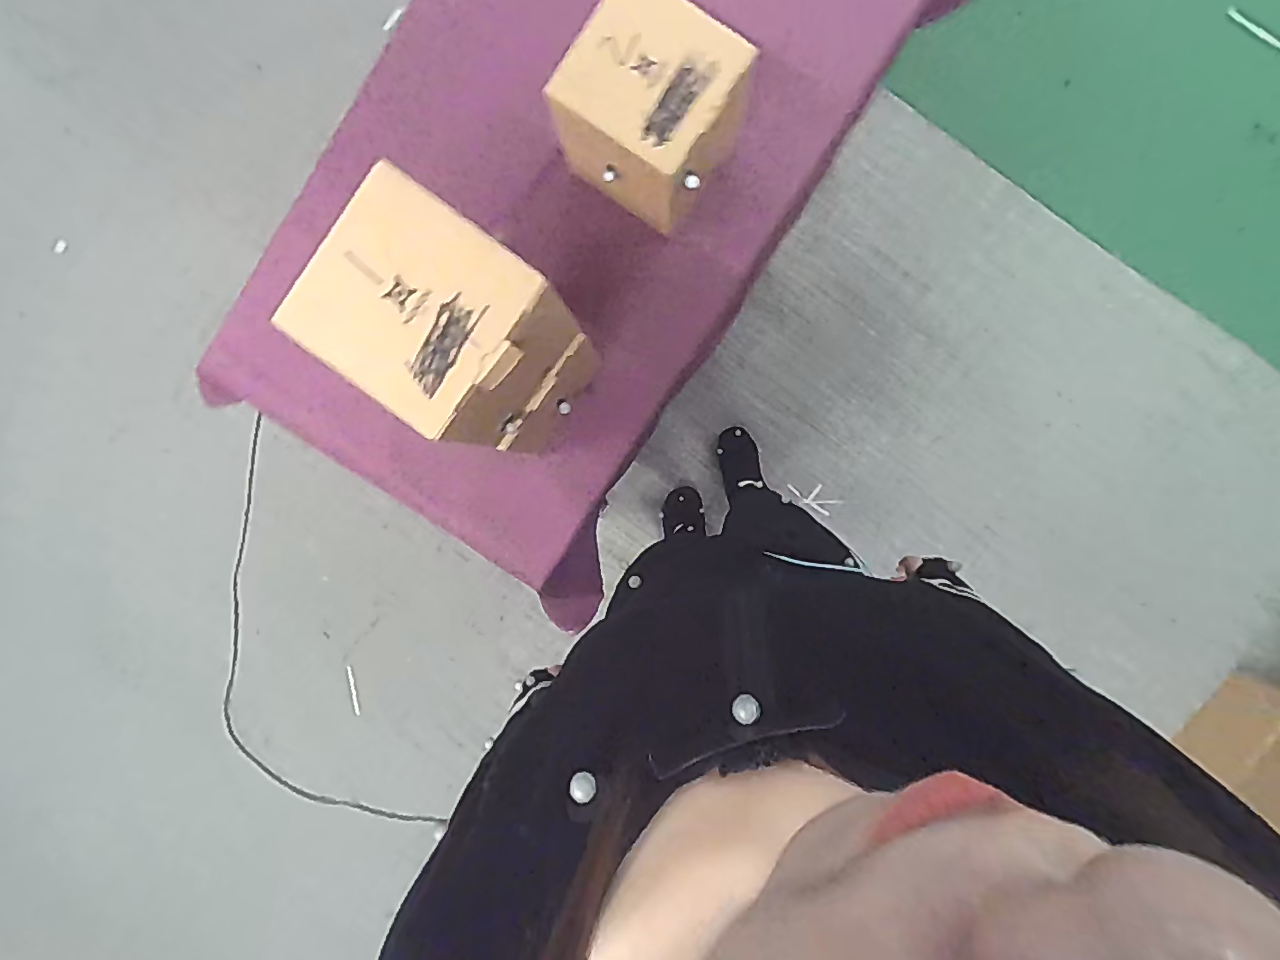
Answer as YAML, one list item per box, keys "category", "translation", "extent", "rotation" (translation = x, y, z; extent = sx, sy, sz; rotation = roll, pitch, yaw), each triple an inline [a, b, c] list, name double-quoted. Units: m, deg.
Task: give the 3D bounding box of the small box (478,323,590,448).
- category: "small box"
  translation: [-0.181, -0.157, 0.690]
  extent: [0.179, 0.176, 0.168]
  rotation: [36, 93, -1]

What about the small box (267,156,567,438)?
- category: "small box"
  translation: [-0.192, -0.156, 0.526]
  extent: [0.179, 0.176, 0.168]
  rotation: [37, 93, 1]
